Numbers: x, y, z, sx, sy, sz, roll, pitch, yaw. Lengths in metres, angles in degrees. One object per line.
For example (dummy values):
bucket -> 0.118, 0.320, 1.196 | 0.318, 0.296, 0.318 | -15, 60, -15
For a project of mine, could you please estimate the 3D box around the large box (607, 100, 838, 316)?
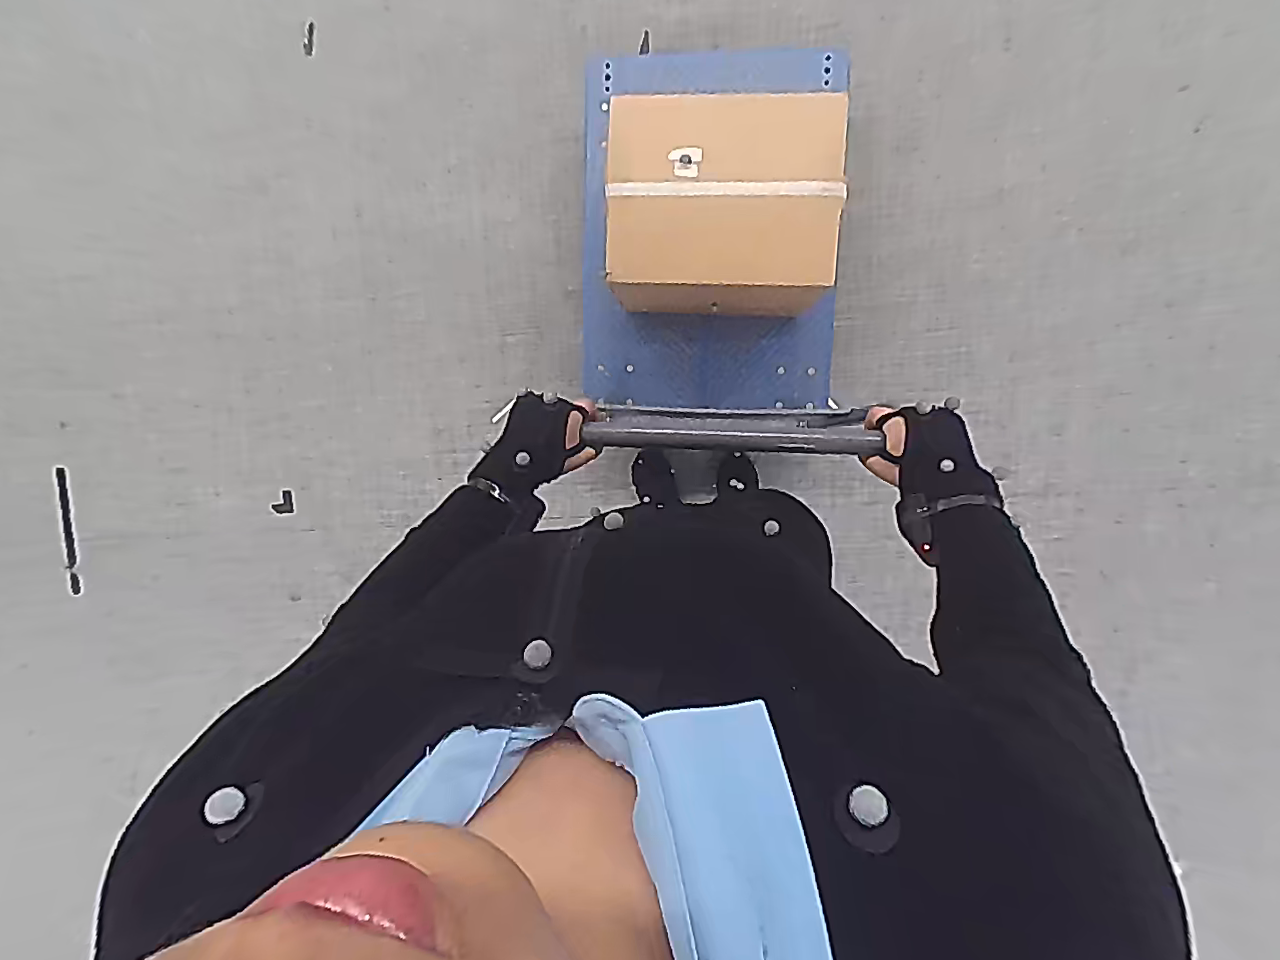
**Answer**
large box -> 0.157, -0.517, 1.102 | 0.408, 0.320, 0.320 | 2, 96, 6
